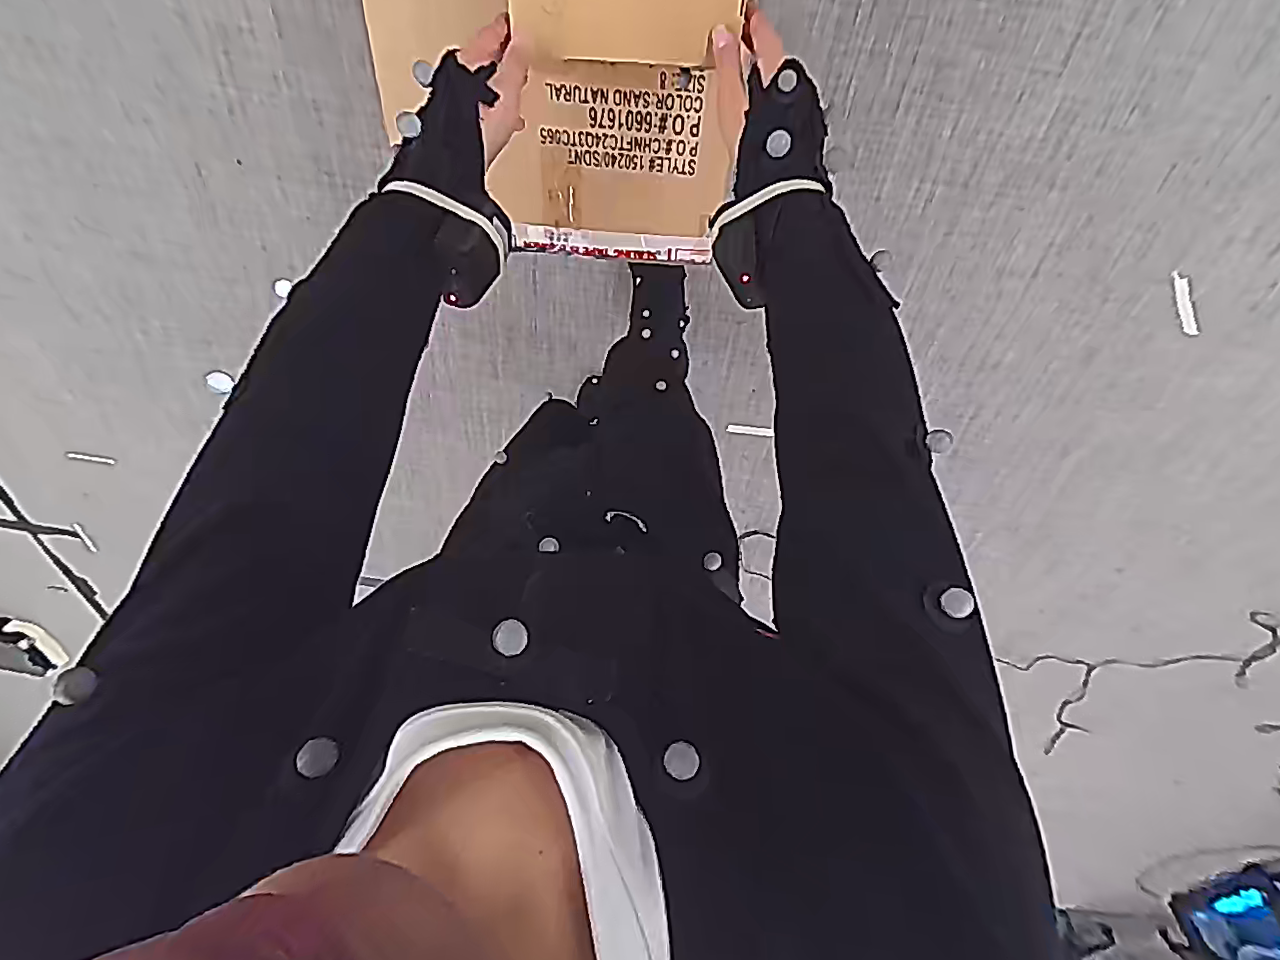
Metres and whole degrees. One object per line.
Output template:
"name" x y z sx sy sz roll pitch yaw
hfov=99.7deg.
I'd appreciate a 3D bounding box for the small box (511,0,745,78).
"small box" -0.002 -0.433 0.435 0.179 0.176 0.168 4 129 1
